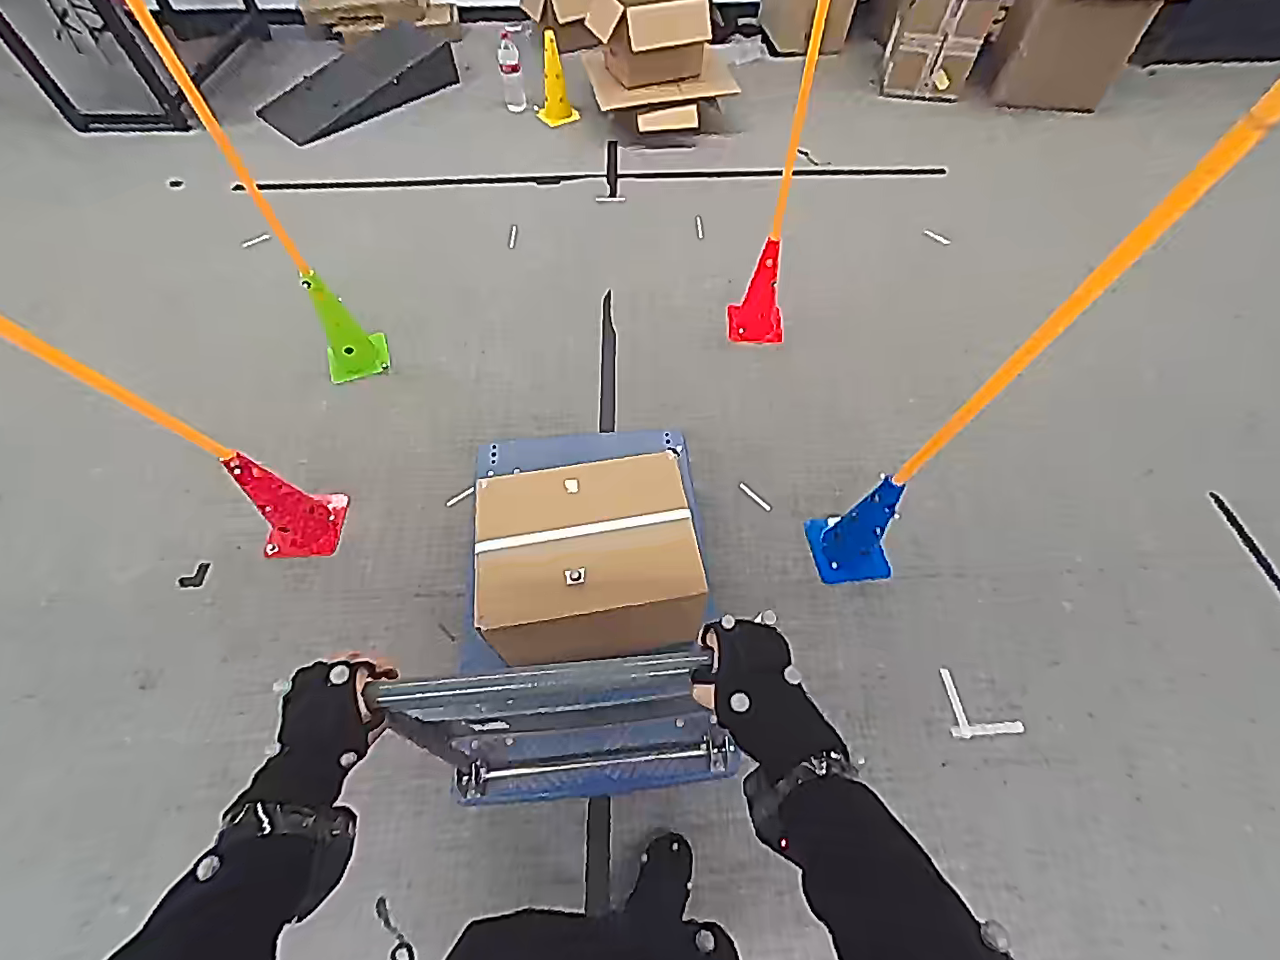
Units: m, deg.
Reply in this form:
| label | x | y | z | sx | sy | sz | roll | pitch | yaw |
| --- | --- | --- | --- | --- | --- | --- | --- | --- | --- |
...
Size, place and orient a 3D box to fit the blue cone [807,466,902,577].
| label | x | y | z | sx | sy | sz | roll | pitch | yaw |
| --- | --- | --- | --- | --- | --- | --- | --- | --- | --- |
| blue cone | 0.584 | 0.093 | 1.387 | 0.193 | 0.380 | 0.192 | -5 | 57 | -3 |

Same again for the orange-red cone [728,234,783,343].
| label | x | y | z | sx | sy | sz | roll | pitch | yaw |
| --- | --- | --- | --- | --- | --- | --- | --- | --- | --- |
| orange-red cone | 0.429 | -0.674 | 1.855 | 0.199 | 0.360 | 0.198 | 5 | 58 | 2 |
